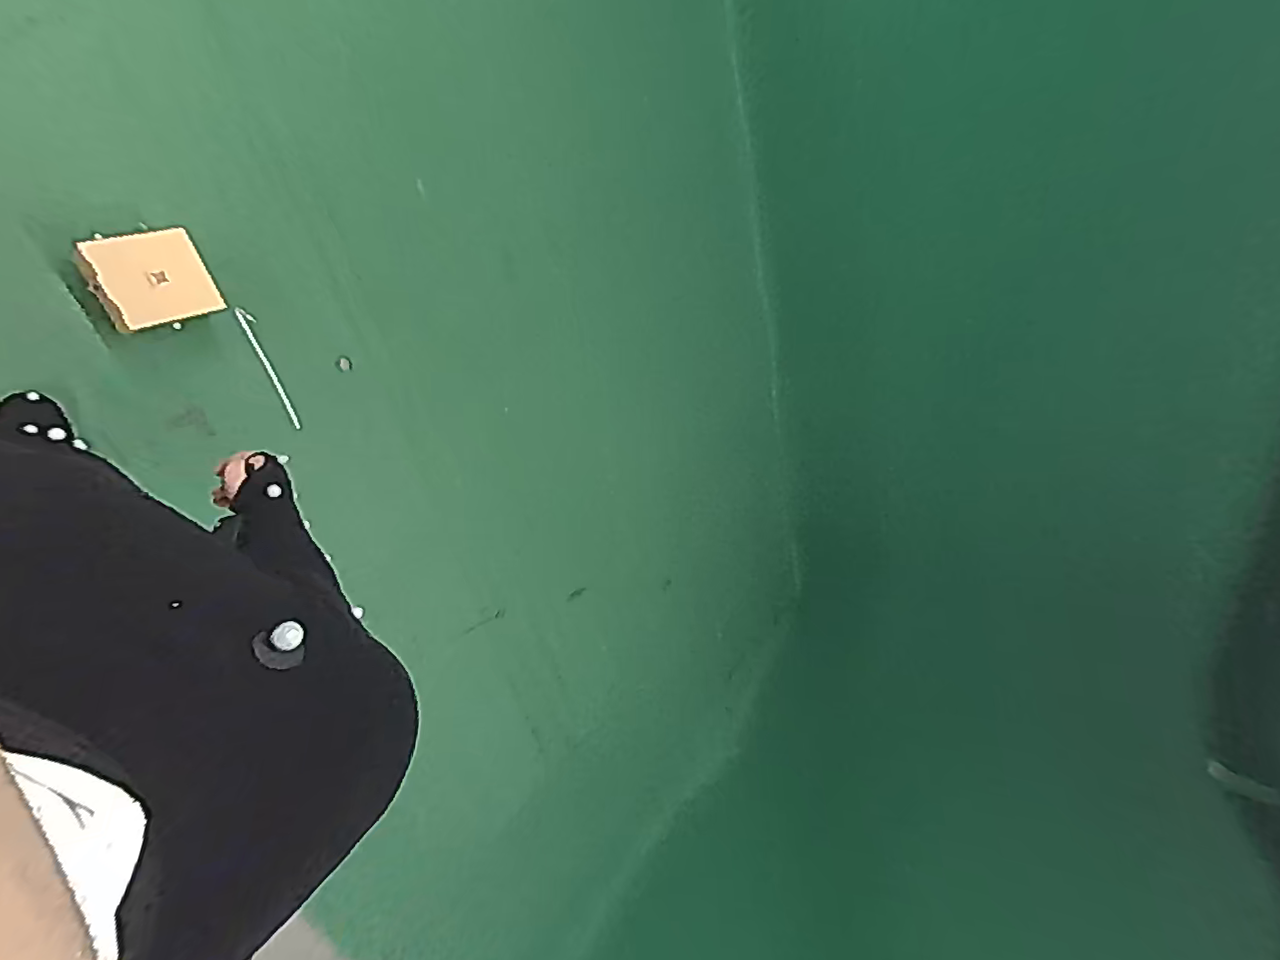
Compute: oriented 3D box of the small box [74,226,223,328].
[{"bbox_3d":[-1.037,-0.426,1.142,0.179,0.176,0.168,-36,123,-37],"label":"small box"}]
